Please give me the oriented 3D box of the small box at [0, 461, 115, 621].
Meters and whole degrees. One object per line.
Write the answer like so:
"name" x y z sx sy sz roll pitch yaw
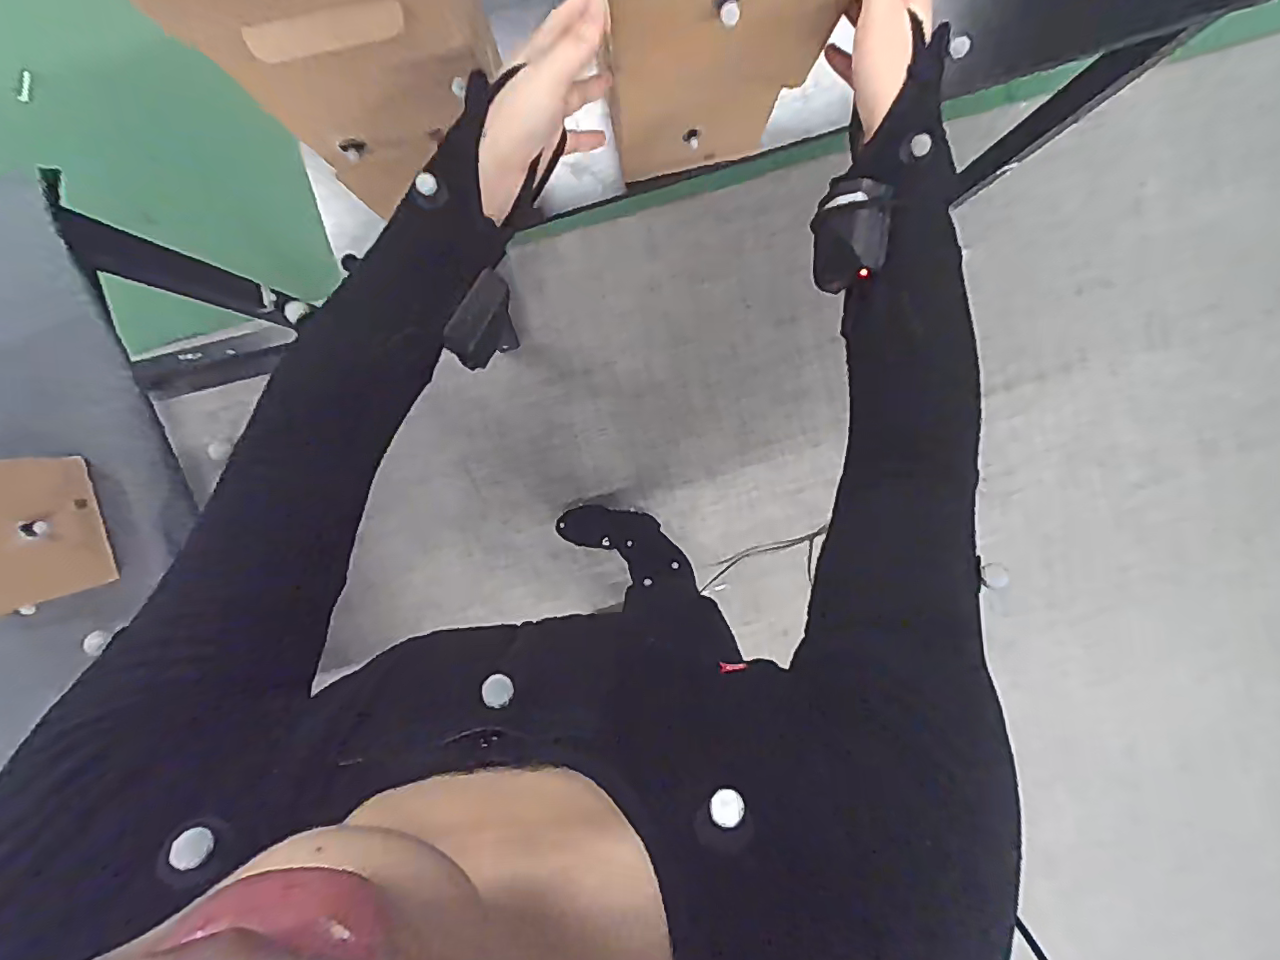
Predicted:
"small box" -0.761 0.077 0.614 0.179 0.176 0.168 -12 95 2

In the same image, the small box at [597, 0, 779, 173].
"small box" 0.049 -0.455 0.574 0.168 0.176 0.179 -12 94 0

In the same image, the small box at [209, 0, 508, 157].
"small box" -0.213 -0.380 0.415 0.168 0.176 0.179 -13 94 0

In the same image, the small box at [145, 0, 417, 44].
"small box" -0.210 -0.359 0.253 0.179 0.176 0.168 -12 93 1

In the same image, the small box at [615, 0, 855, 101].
"small box" 0.067 -0.423 0.410 0.179 0.176 0.168 -5 98 0
